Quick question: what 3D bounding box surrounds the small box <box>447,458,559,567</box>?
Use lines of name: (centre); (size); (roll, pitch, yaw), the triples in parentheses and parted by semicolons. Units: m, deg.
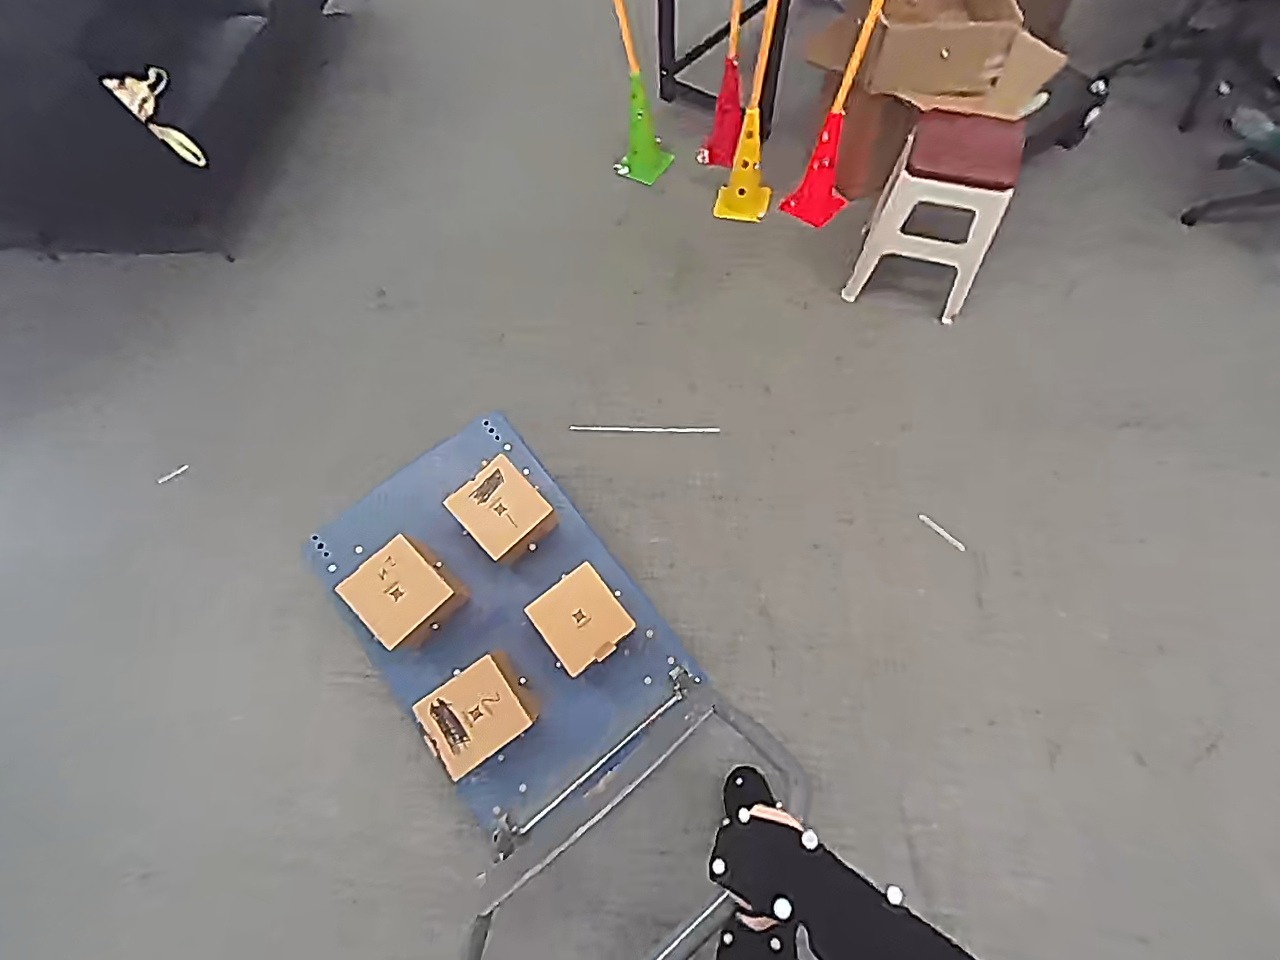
small box: (-0.304, 0.084, 1.237); (0.168, 0.176, 0.179); (-42, 83, -13)

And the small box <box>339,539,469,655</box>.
small box: (-0.499, 0.253, 1.175); (0.168, 0.176, 0.179); (-43, 82, -15)

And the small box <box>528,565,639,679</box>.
small box: (-0.124, 0.312, 1.193); (0.168, 0.176, 0.179); (-37, 82, -13)
